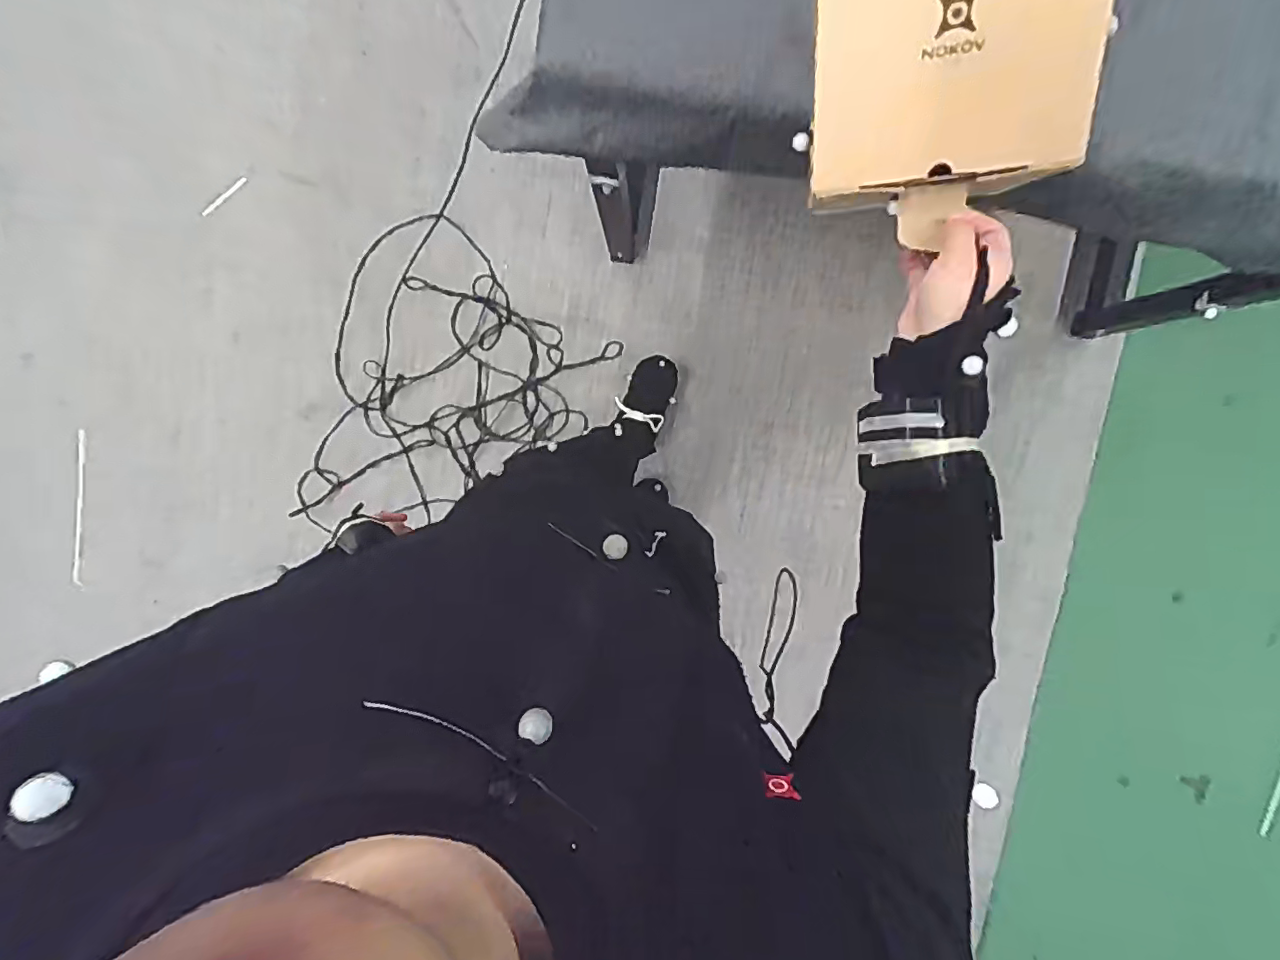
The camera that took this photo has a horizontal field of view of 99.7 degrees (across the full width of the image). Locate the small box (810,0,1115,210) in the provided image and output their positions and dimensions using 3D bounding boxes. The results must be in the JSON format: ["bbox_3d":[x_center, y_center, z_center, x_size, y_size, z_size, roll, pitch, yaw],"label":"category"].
[{"bbox_3d":[0.221,-0.318,0.413,0.168,0.176,0.179,0,112,14],"label":"small box"}]
